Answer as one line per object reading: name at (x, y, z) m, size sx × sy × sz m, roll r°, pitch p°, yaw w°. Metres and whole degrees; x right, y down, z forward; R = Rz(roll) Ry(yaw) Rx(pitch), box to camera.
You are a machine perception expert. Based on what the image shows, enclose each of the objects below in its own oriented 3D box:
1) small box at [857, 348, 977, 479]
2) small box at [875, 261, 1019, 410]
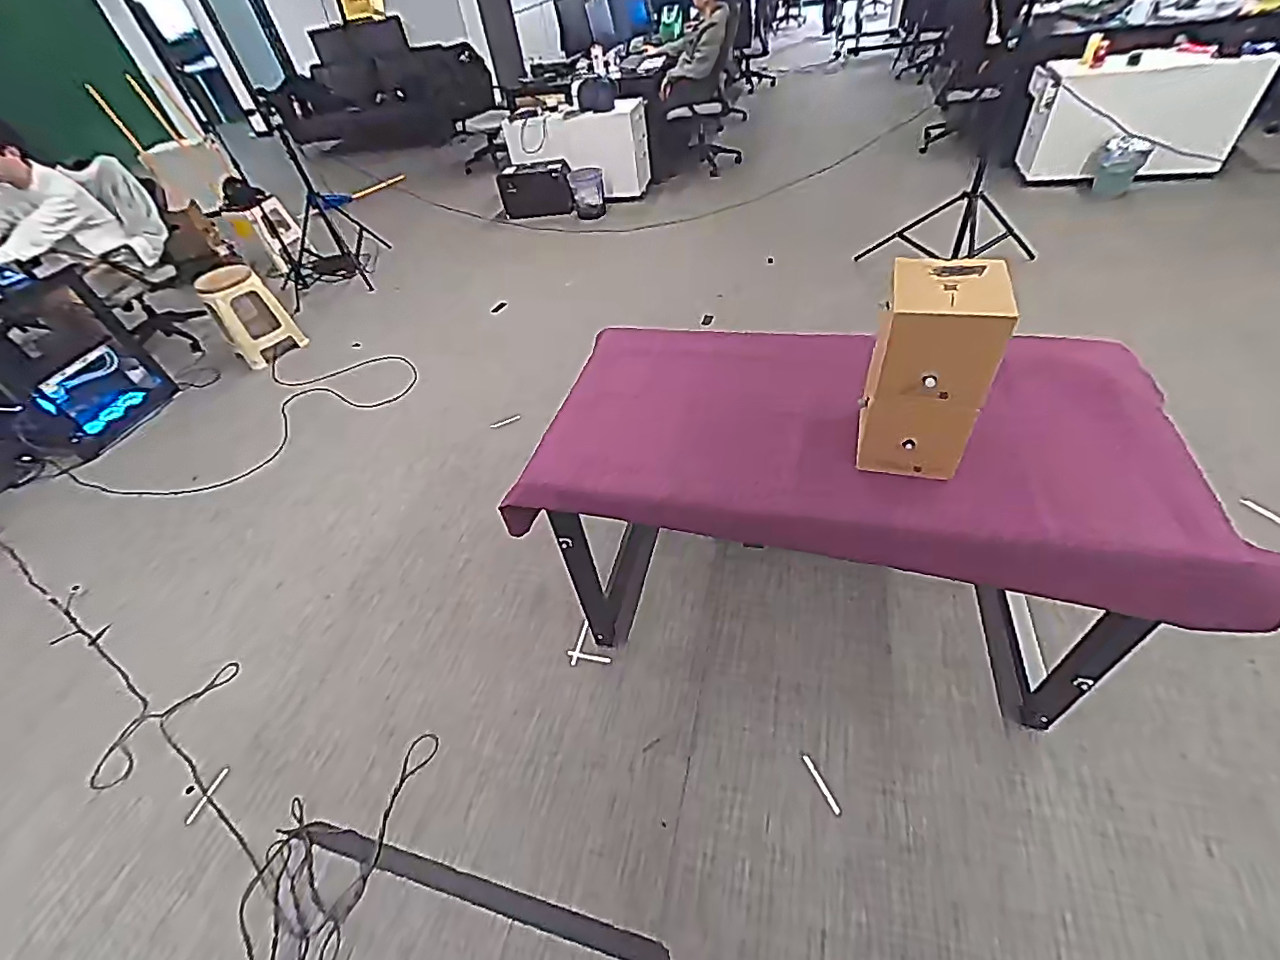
small box at (0.506, -0.124, 1.006) m, size 0.168 × 0.176 × 0.179 m, roll 9°, pitch 48°, yaw 17°
small box at (0.490, -0.240, 0.892) m, size 0.168 × 0.176 × 0.179 m, roll 8°, pitch 48°, yaw 17°
